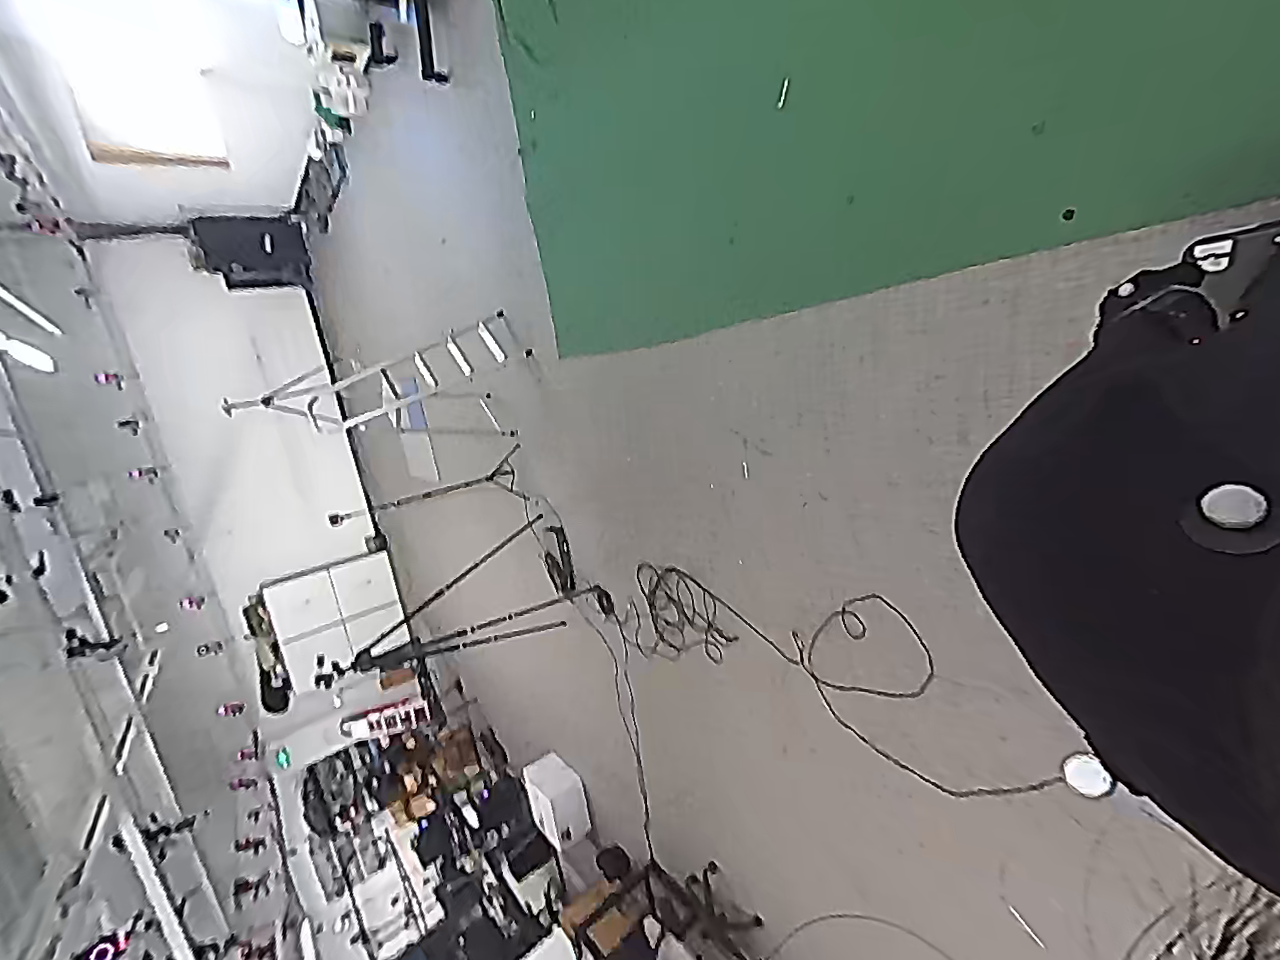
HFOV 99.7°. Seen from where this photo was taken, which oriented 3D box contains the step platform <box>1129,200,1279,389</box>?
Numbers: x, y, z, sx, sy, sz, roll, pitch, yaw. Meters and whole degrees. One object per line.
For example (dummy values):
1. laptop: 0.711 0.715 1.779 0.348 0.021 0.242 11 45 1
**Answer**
1. step platform: 1.160 -0.312 0.757 0.684 0.204 0.286 4 109 53
